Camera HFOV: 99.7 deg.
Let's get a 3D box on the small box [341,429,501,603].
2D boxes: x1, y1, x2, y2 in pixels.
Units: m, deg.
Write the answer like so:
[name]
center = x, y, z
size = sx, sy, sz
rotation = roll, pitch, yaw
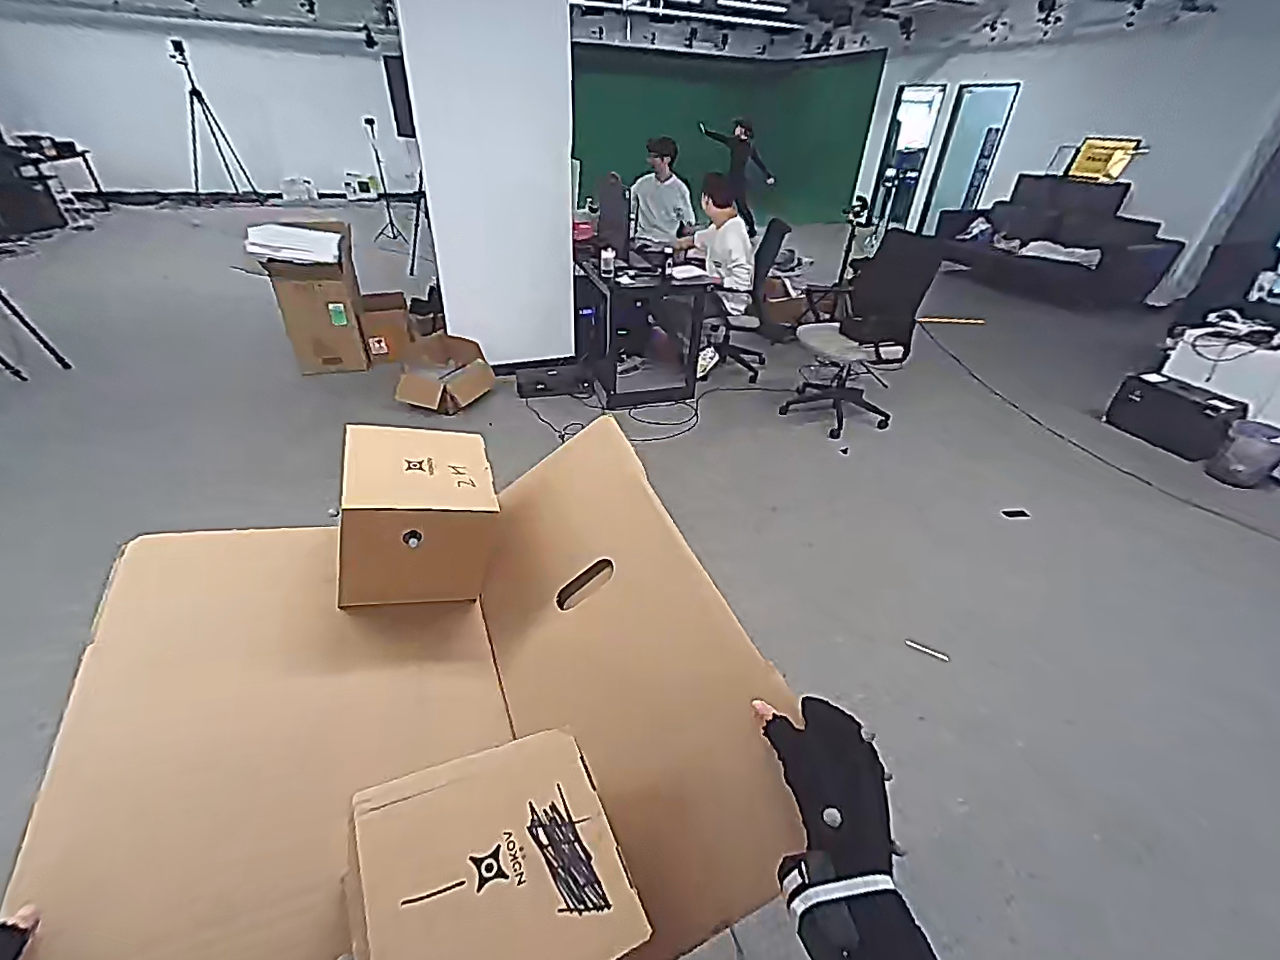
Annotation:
[small box]
center = -0.300, 0.052, 0.732
size = 0.179, 0.176, 0.168
rotation = 4, 38, -28
